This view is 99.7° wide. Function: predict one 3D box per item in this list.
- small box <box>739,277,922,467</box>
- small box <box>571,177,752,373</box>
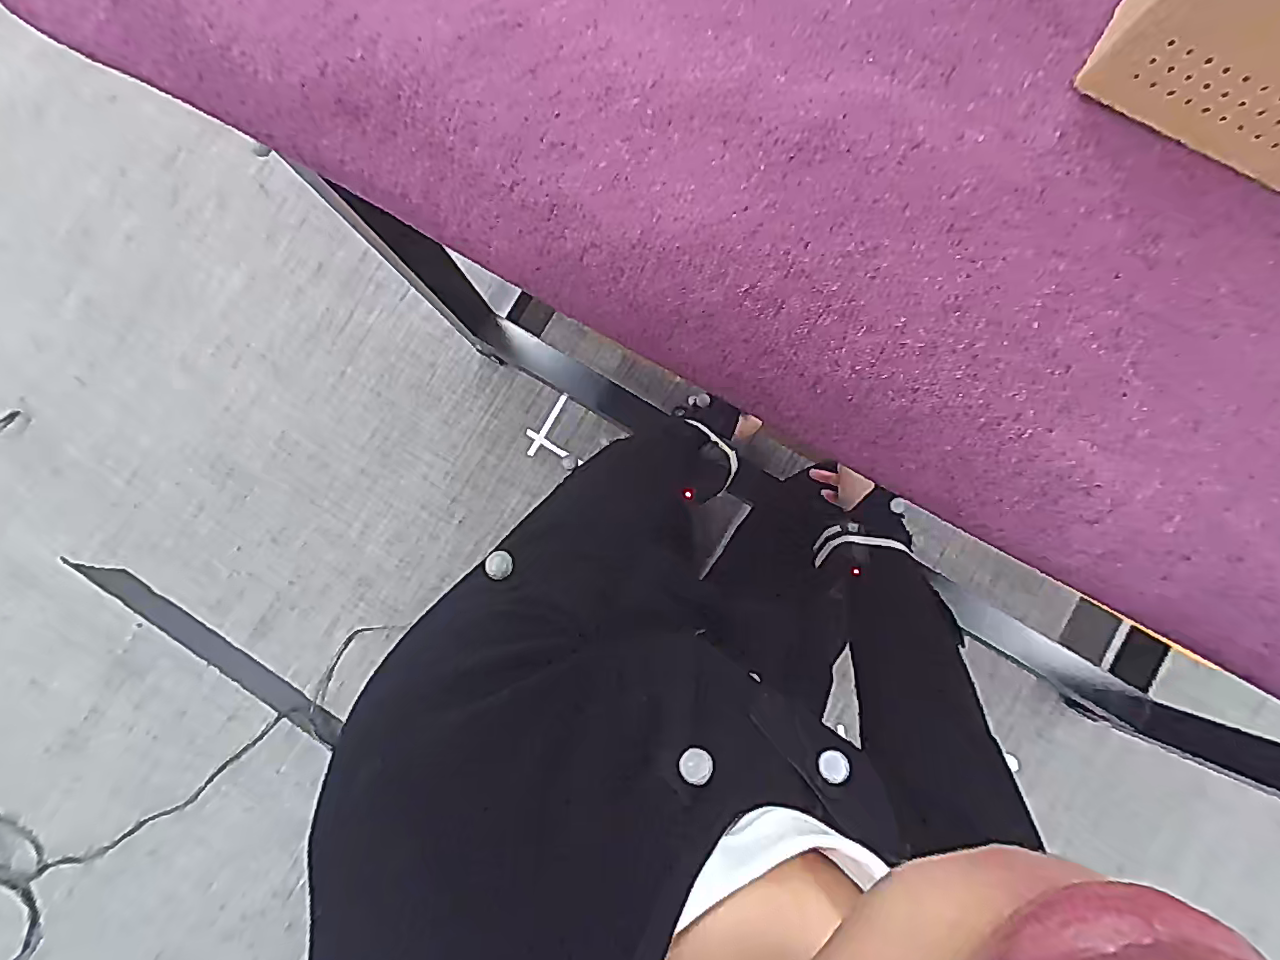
[{"bbox_3d":[0.263,-0.149,0.761,0.179,0.176,0.168,29,46,4],"label":"small box"},{"bbox_3d":[0.029,-0.267,0.754,0.179,0.176,0.168,29,86,4],"label":"small box"}]
